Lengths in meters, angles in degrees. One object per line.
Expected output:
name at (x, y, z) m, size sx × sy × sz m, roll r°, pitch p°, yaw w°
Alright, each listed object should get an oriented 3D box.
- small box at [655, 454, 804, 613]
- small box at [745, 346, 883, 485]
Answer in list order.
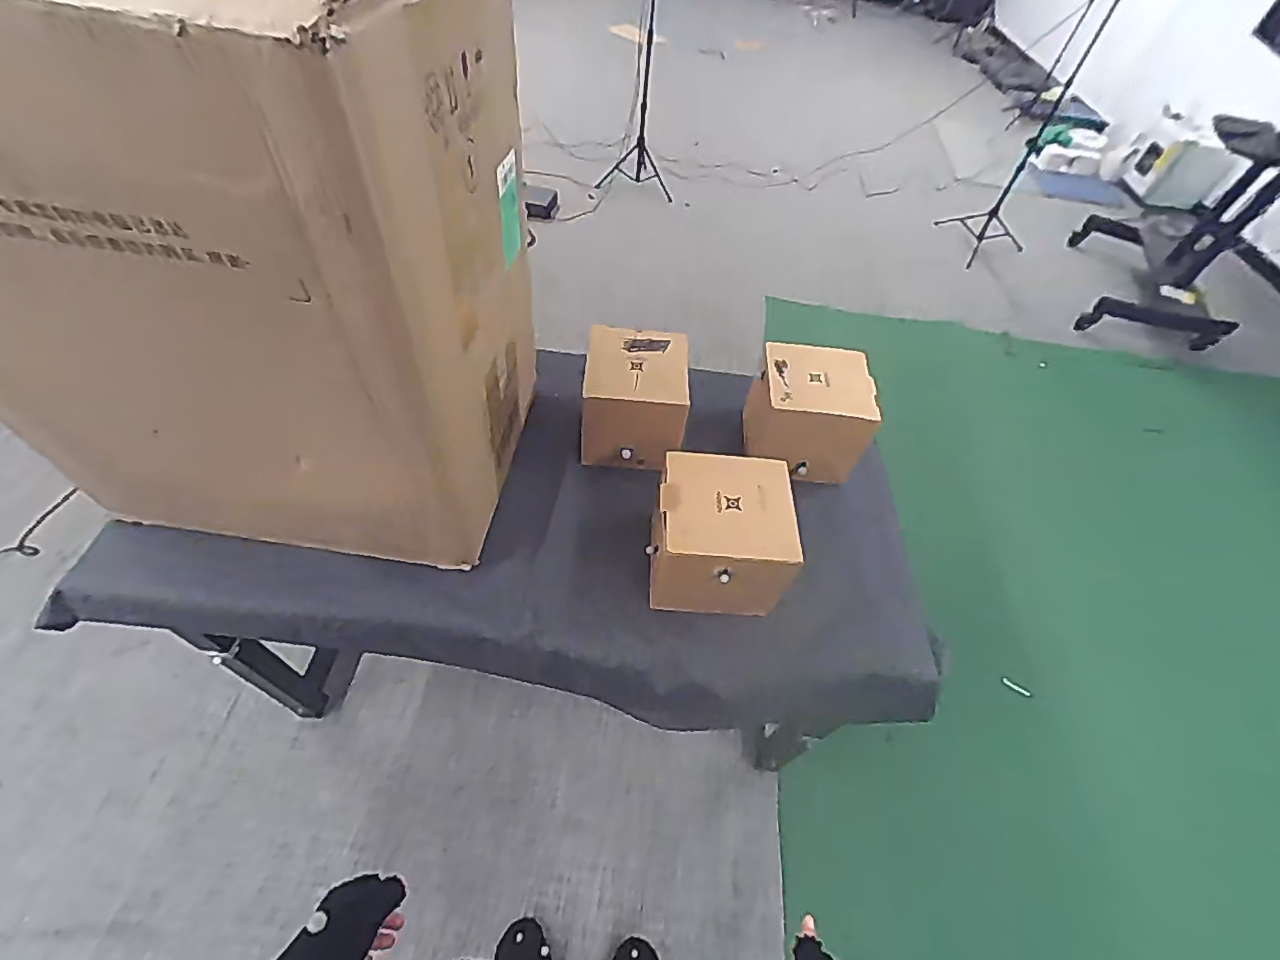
small box at (0.116, 0.082, 0.785) m, size 0.179 × 0.176 × 0.168 m, roll 5°, pitch 53°, yaw -4°
small box at (0.293, -0.108, 0.953) m, size 0.179 × 0.176 × 0.168 m, roll 7°, pitch 50°, yaw -1°
